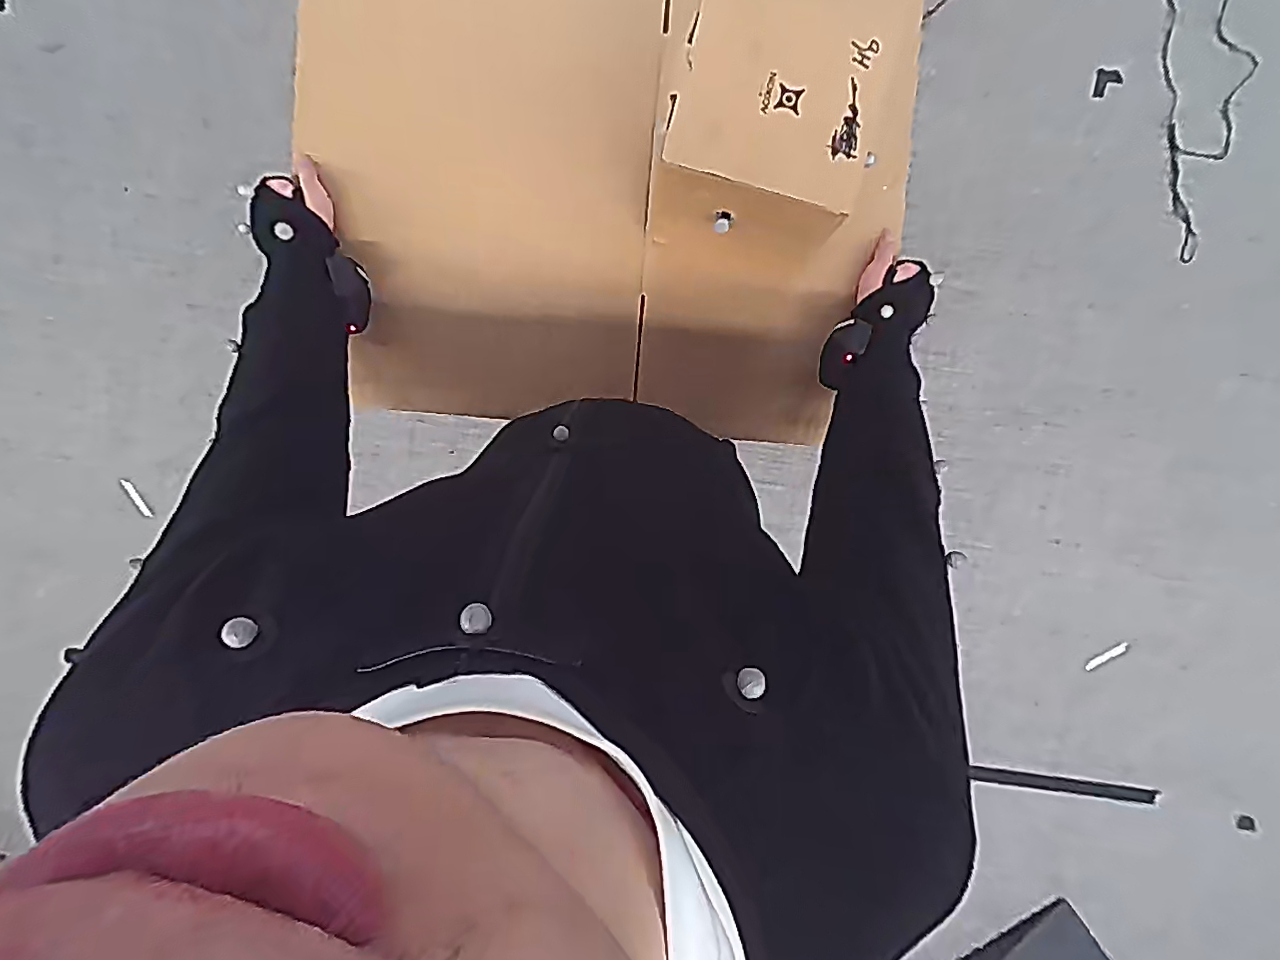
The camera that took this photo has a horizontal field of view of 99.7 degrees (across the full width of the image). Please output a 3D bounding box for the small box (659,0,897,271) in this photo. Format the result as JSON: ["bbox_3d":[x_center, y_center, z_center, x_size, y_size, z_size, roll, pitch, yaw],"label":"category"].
[{"bbox_3d":[0.122,-0.337,0.556,0.179,0.176,0.168,15,92,-1],"label":"small box"}]
